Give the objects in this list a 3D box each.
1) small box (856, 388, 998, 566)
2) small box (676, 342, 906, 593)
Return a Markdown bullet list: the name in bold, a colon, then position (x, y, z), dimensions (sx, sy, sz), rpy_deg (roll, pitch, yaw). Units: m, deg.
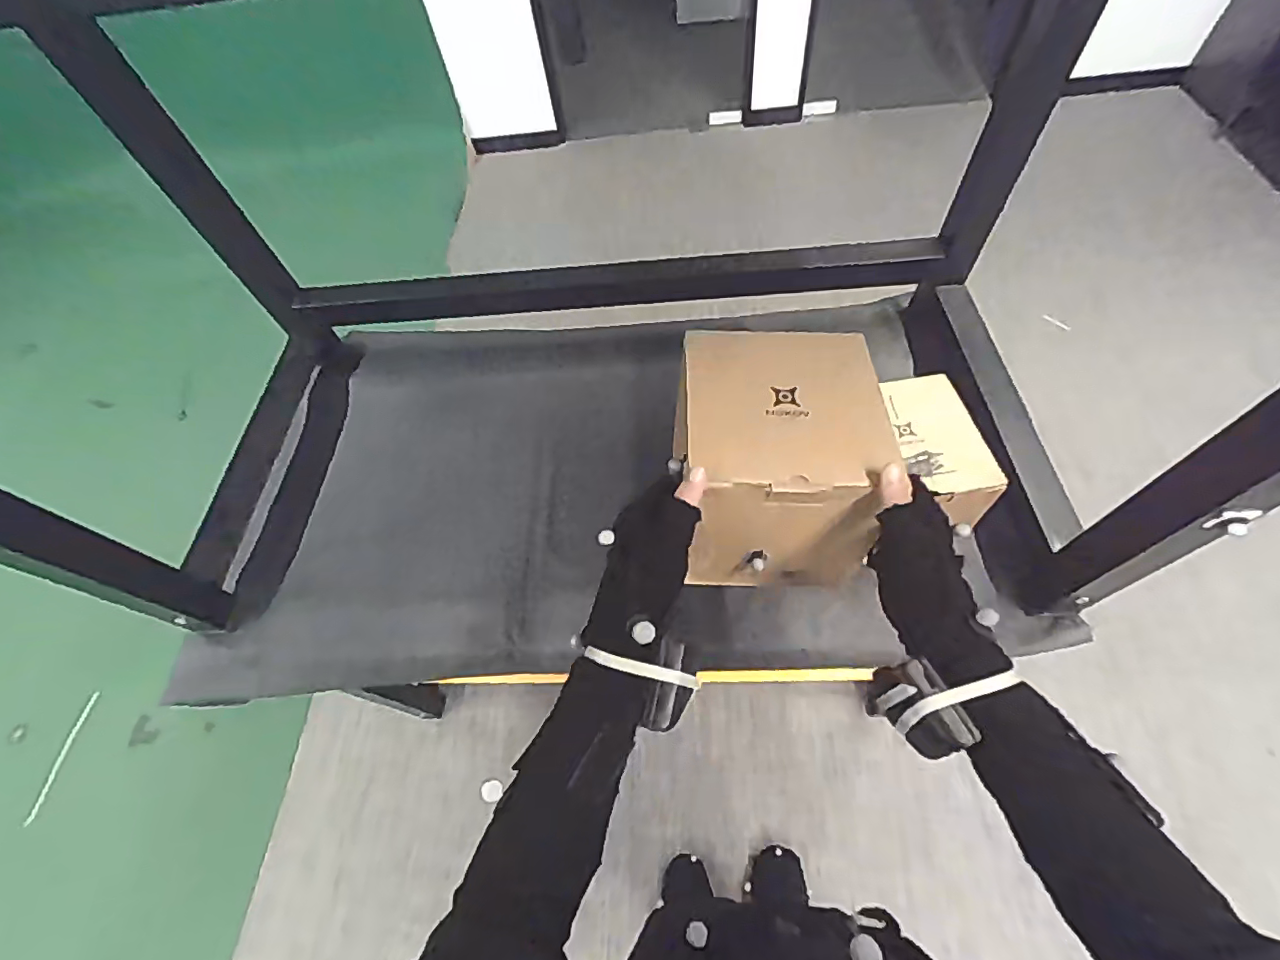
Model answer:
- **small box**: position (0.331, 0.005, 0.730), dimensions (0.168, 0.176, 0.179), rpy_deg (-8, 55, 2)
- **small box**: position (0.121, -0.010, 0.520), dimensions (0.168, 0.176, 0.179), rpy_deg (1, 53, 1)
